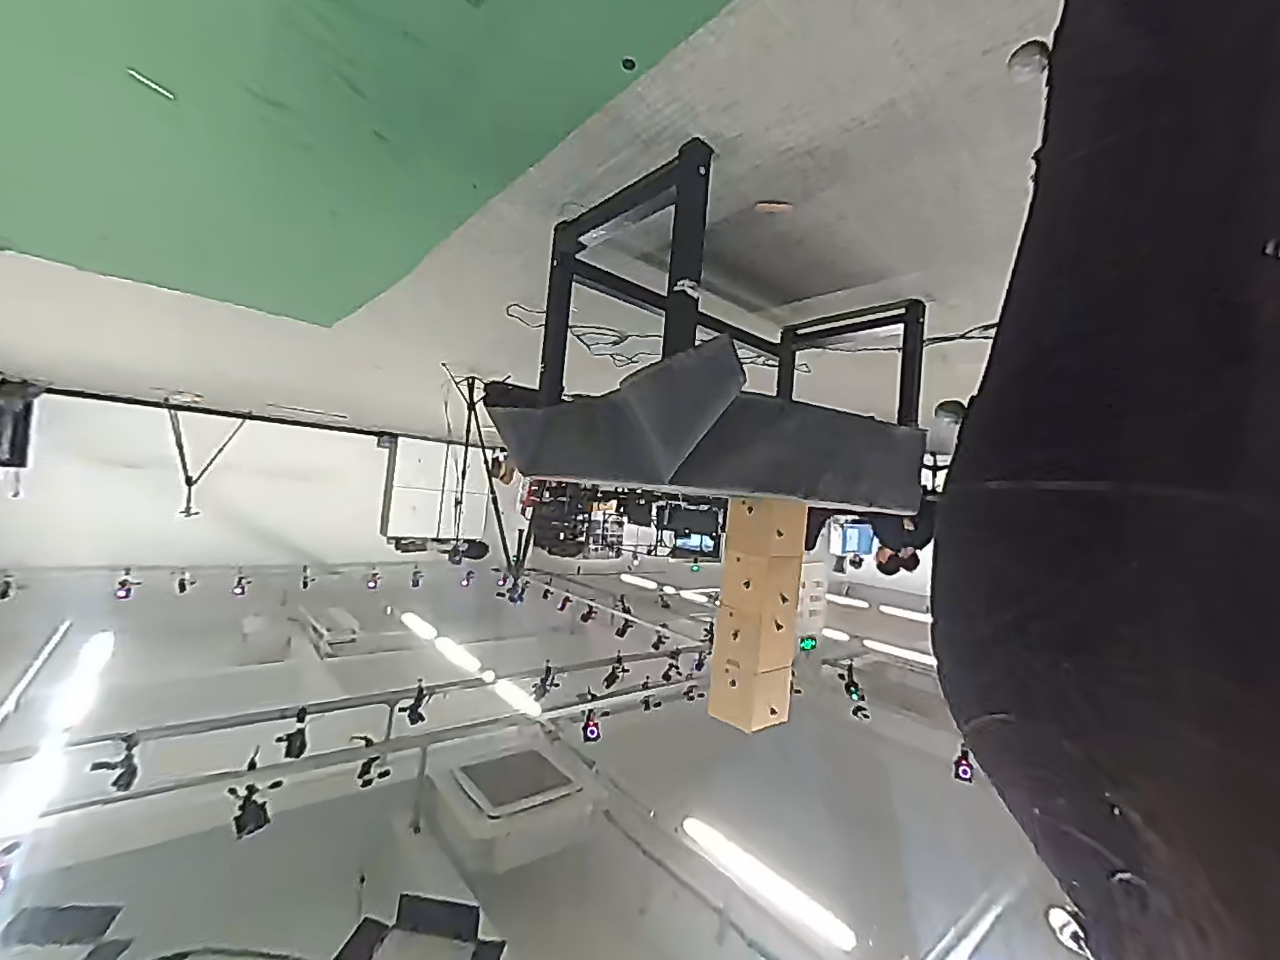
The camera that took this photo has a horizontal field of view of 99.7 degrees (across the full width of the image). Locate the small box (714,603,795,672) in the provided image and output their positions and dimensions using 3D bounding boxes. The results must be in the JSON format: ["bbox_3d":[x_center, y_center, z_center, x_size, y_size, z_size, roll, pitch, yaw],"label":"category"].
[{"bbox_3d":[0.343,0.454,1.606,0.179,0.176,0.168,8,177,-41],"label":"small box"}]

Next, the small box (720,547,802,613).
[{"bbox_3d":[0.361,0.291,1.606,0.179,0.176,0.168,7,178,-39],"label":"small box"}]

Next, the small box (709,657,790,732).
[{"bbox_3d":[0.329,0.618,1.607,0.179,0.176,0.168,8,177,-40],"label":"small box"}]
